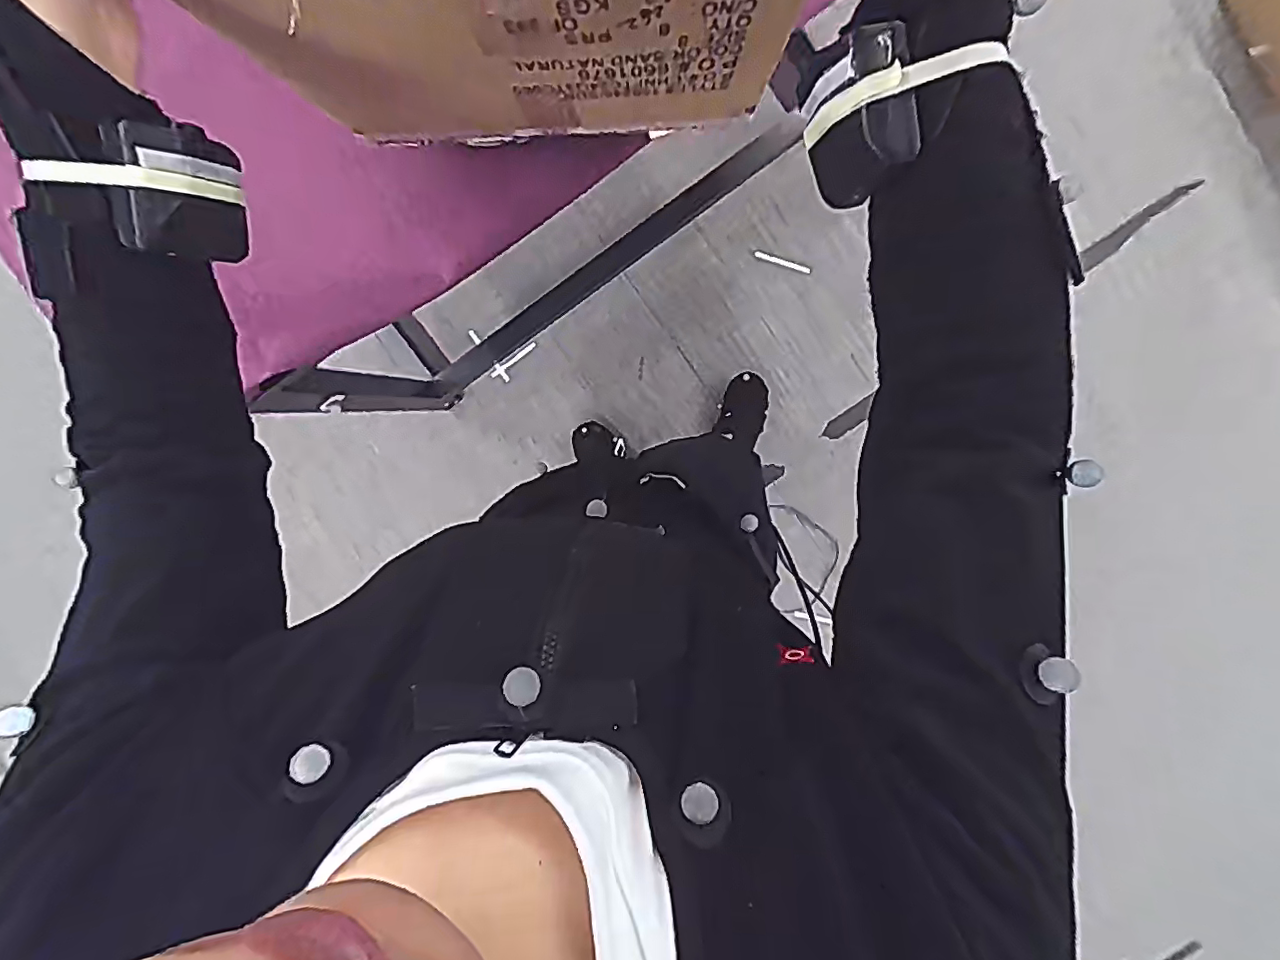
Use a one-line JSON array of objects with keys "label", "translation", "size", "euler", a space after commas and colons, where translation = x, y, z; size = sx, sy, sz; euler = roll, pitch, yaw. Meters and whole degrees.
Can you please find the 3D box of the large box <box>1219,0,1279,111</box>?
[{"label": "large box", "translation": [1.553, -1.069, 1.078], "size": [0.408, 0.320, 0.320], "euler": [-37, 95, 6]}]
